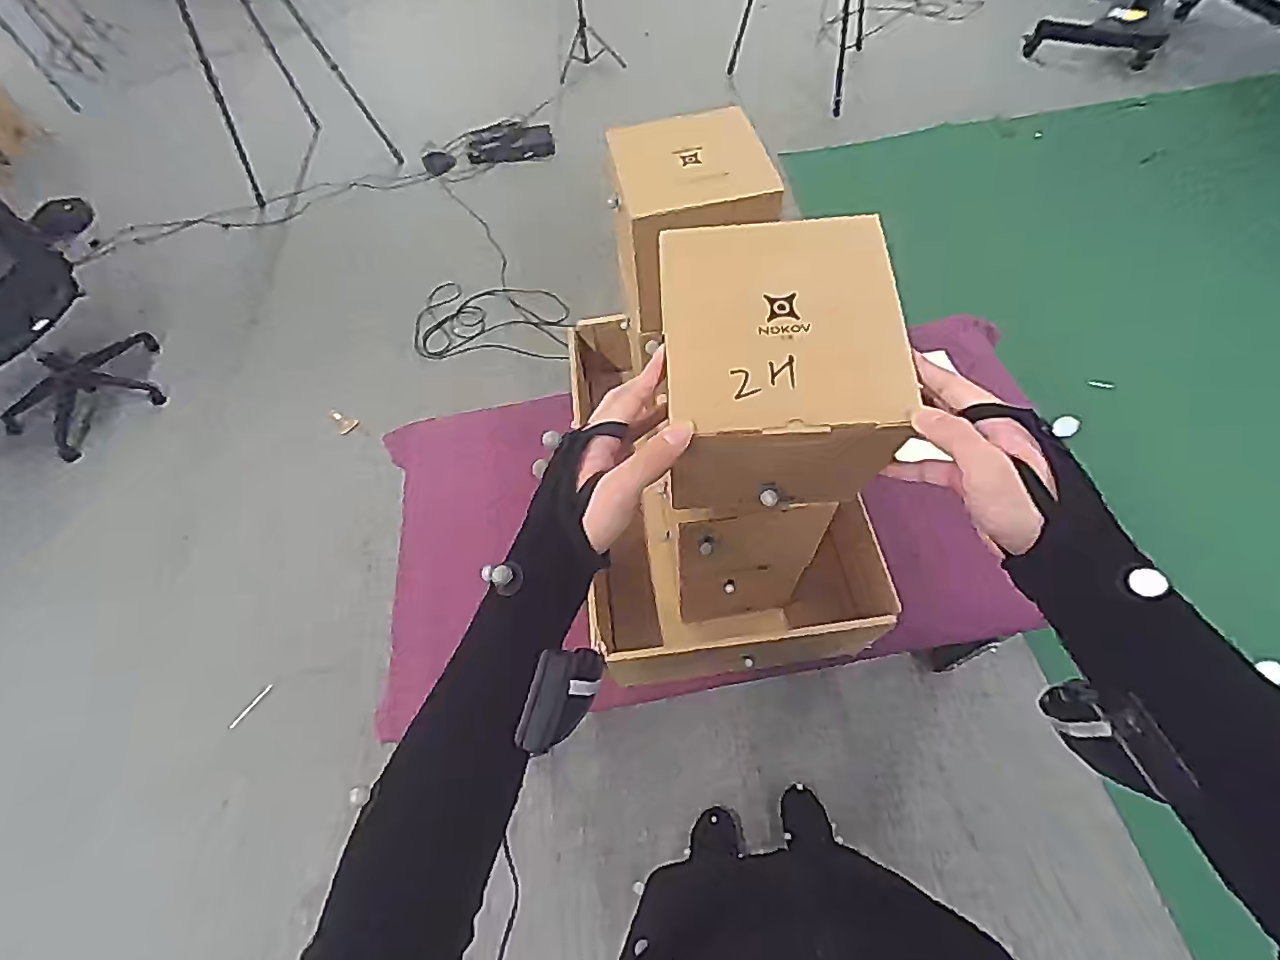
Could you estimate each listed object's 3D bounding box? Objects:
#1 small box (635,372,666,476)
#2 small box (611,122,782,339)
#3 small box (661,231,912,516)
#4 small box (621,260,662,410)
[{"bbox_3d":[0.084,-0.130,0.949,0.168,0.176,0.179,-10,59,-1],"label":"small box"},{"bbox_3d":[0.061,-0.305,0.674,0.168,0.176,0.179,-10,60,-1],"label":"small box"},{"bbox_3d":[0.101,-0.079,0.462,0.168,0.176,0.179,-3,69,4],"label":"small box"},{"bbox_3d":[0.070,-0.222,0.813,0.168,0.176,0.179,-10,58,-2],"label":"small box"}]
